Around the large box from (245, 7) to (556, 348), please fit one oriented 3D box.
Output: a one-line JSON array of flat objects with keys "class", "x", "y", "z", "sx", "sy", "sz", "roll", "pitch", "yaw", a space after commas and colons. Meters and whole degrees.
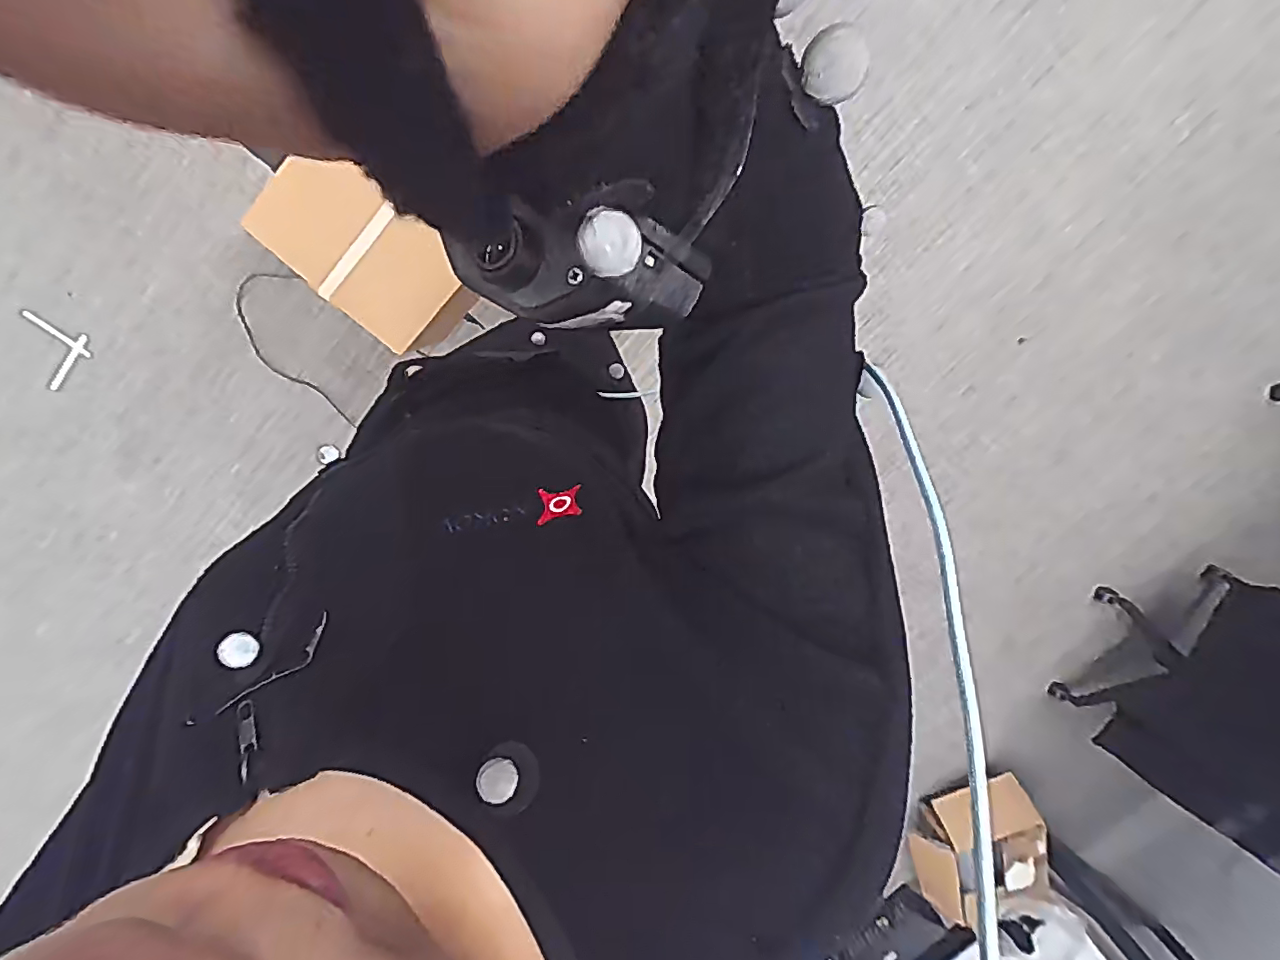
[{"class": "large box", "x": -0.404, "y": -0.507, "z": 1.010, "sx": 0.320, "sy": 0.320, "sz": 0.408, "roll": 41, "pitch": 99, "yaw": -18}]
